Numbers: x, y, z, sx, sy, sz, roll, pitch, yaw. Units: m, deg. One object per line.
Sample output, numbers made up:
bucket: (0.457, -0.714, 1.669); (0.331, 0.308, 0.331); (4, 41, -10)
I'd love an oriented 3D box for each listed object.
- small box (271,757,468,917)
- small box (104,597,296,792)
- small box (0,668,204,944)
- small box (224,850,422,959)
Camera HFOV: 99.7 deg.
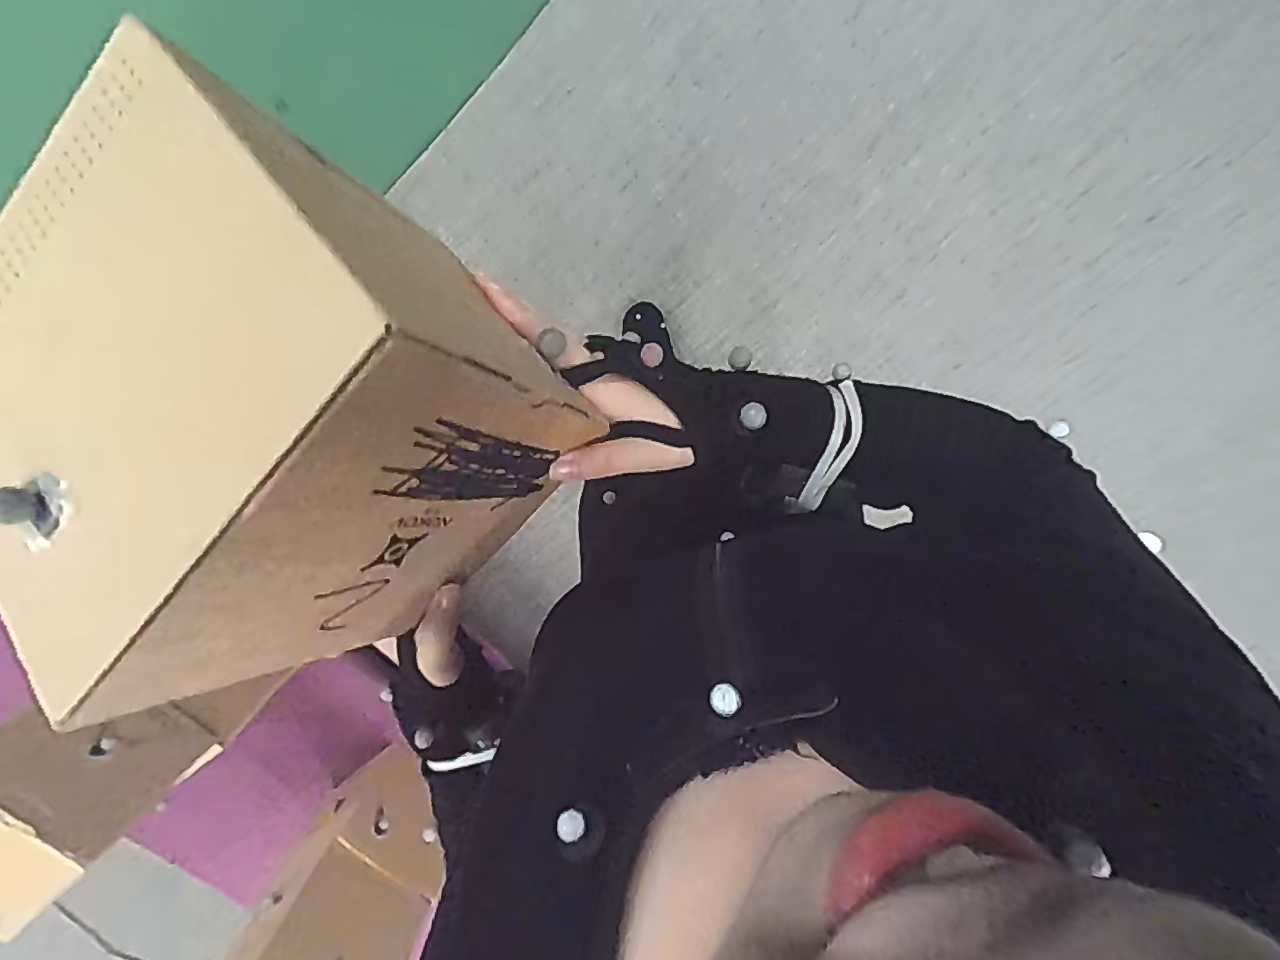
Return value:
small box: (-0.406, 0.569, 0.841); (0.168, 0.176, 0.179); (-39, 103, 14)
small box: (-0.642, 0.301, 0.763); (0.168, 0.176, 0.179); (-36, 103, 12)
small box: (-0.650, 0.350, 0.606); (0.179, 0.176, 0.168); (-40, 102, 13)
small box: (-0.417, 0.624, 0.686); (0.168, 0.176, 0.179); (-43, 101, 14)
